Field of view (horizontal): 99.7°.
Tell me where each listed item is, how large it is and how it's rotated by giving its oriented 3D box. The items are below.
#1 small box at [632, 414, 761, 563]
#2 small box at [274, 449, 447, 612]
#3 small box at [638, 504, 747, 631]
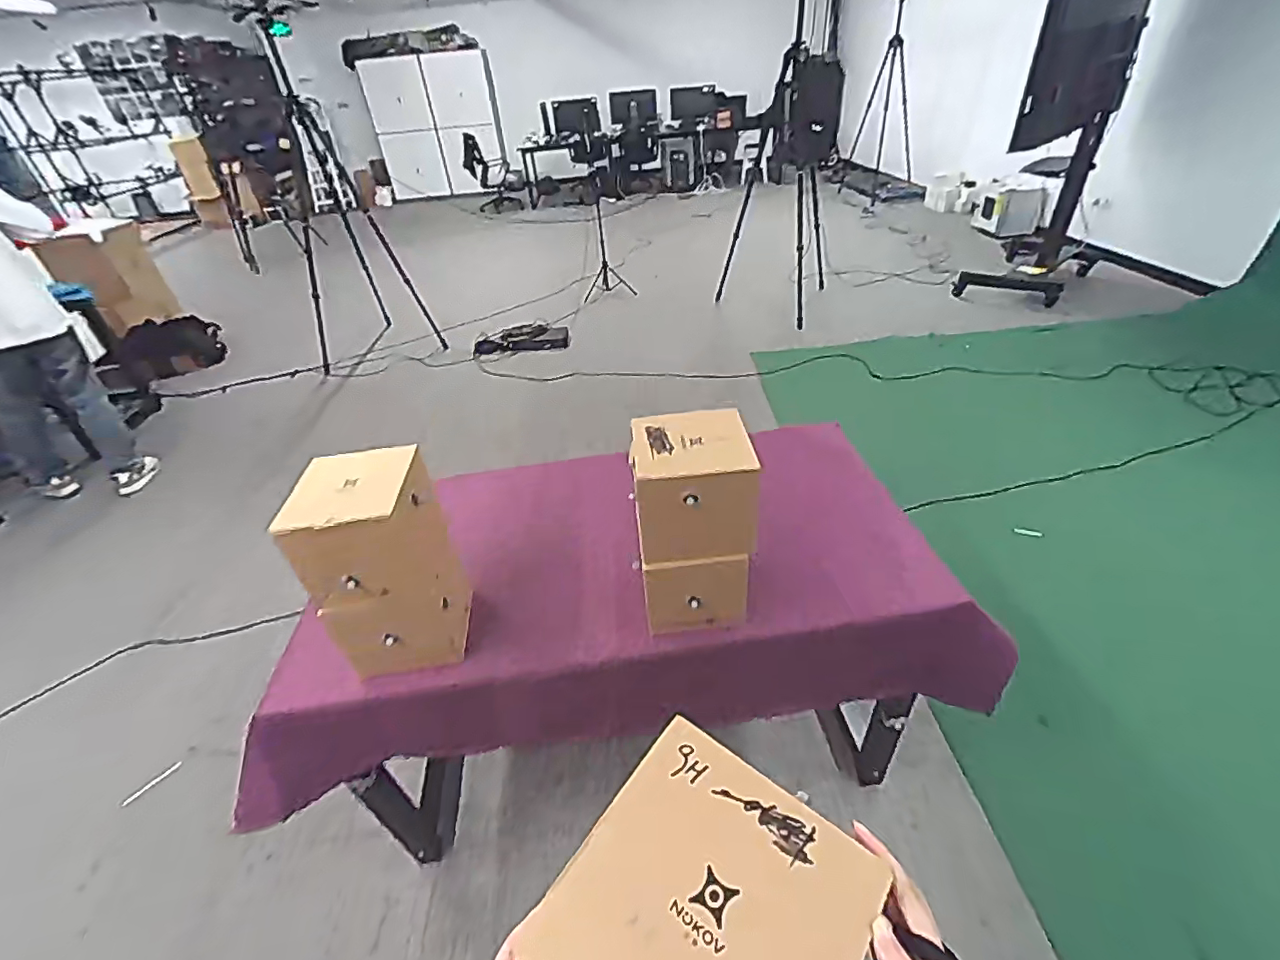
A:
[{"bbox_3d":[0.084,0.015,0.849,0.179,0.176,0.168,-5,38,-1],"label":"small box"},{"bbox_3d":[-0.410,0.075,0.833,0.168,0.176,0.179,-8,38,-3],"label":"small box"},{"bbox_3d":[0.089,0.148,0.947,0.168,0.176,0.179,-6,37,-1],"label":"small box"}]
